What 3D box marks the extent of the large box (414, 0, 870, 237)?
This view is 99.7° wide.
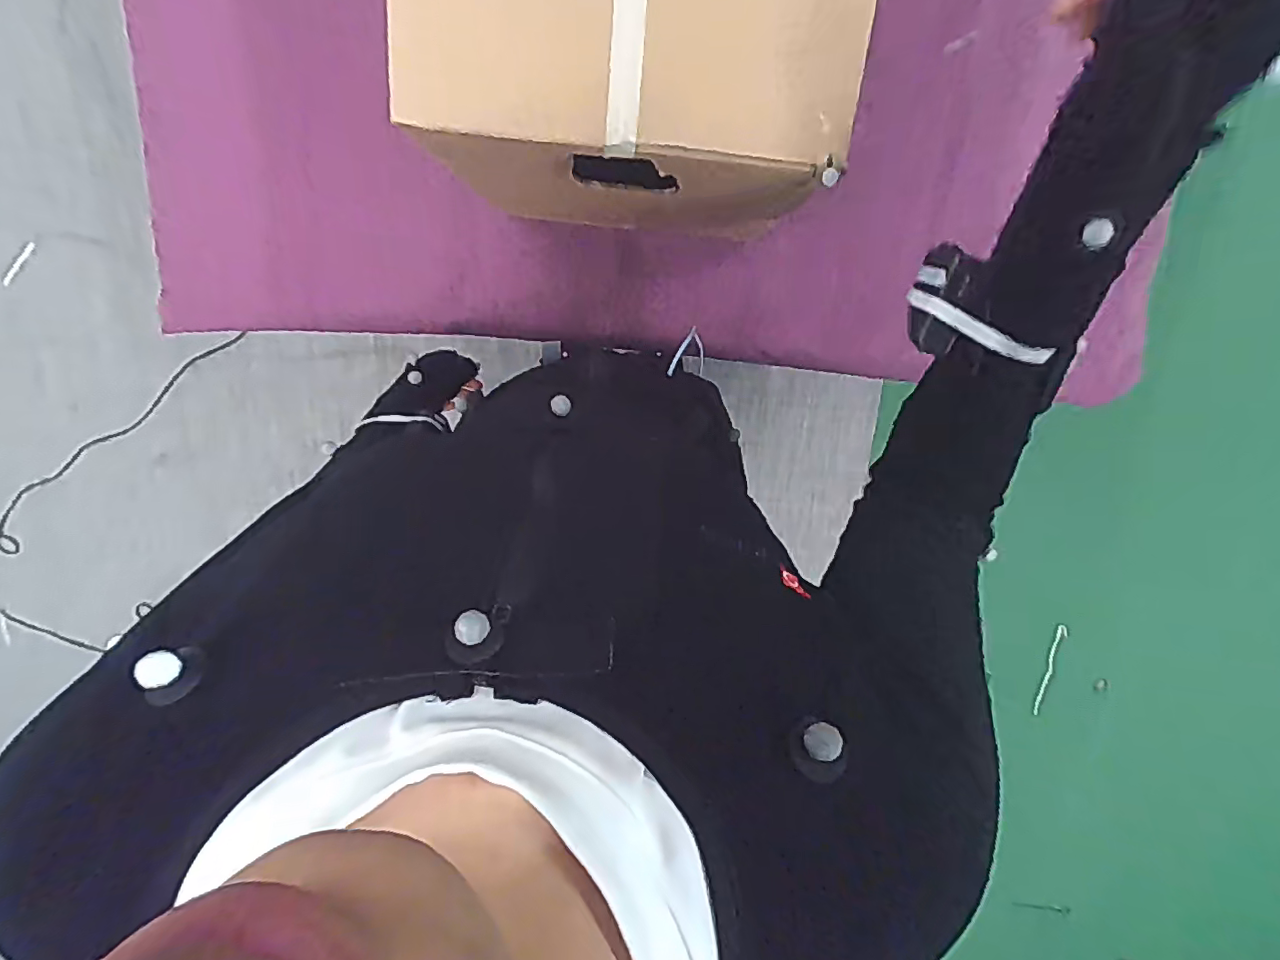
[{"bbox_3d":[0.009,-0.466,0.477,0.320,0.320,0.408,6,106,-2],"label":"large box"}]
